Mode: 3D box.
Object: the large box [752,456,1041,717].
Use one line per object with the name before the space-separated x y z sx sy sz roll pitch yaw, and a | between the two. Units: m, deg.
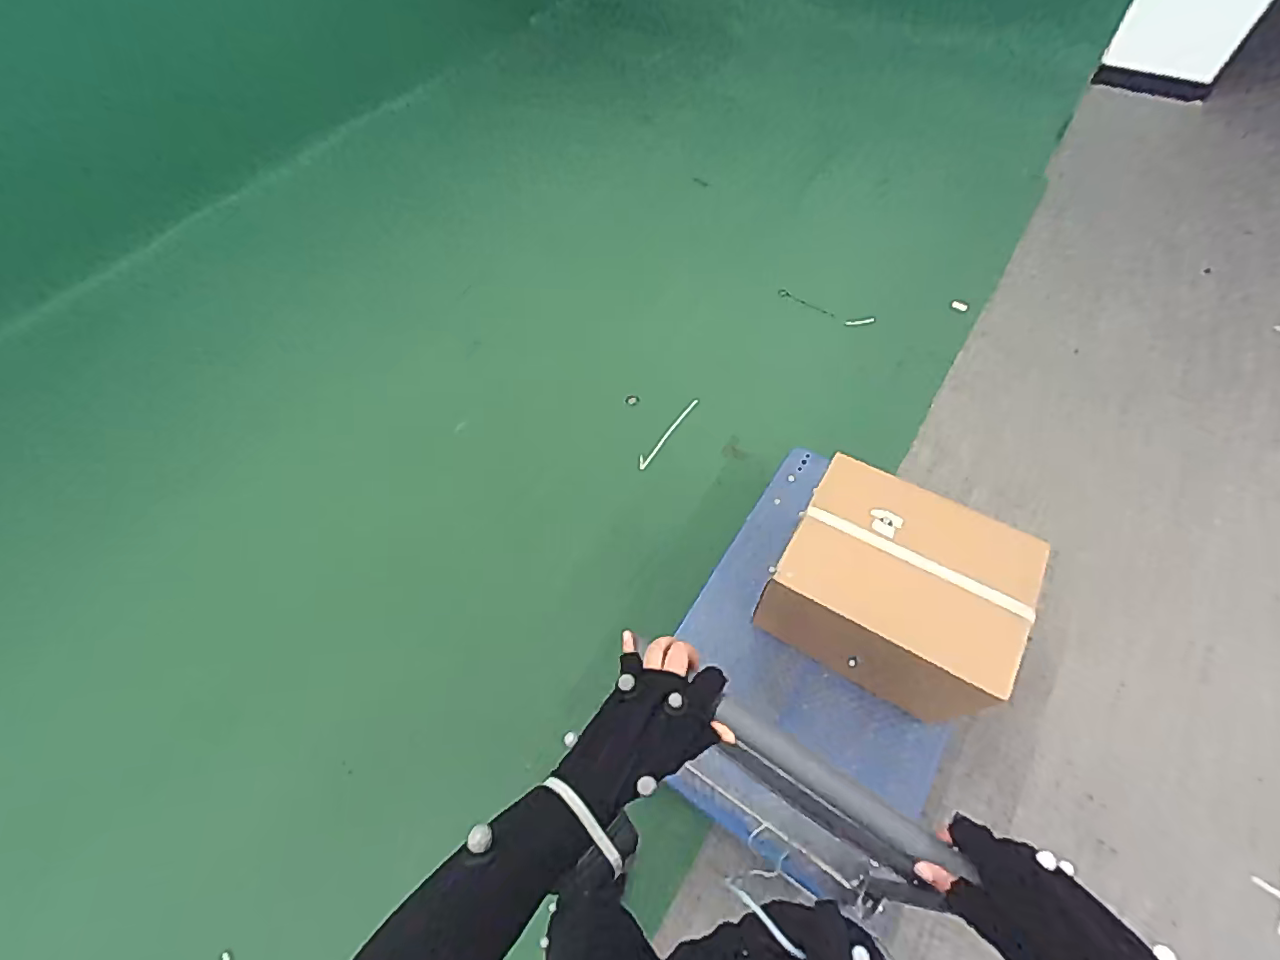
large box | 0.485 0.221 1.097 0.408 0.320 0.320 27 65 20
